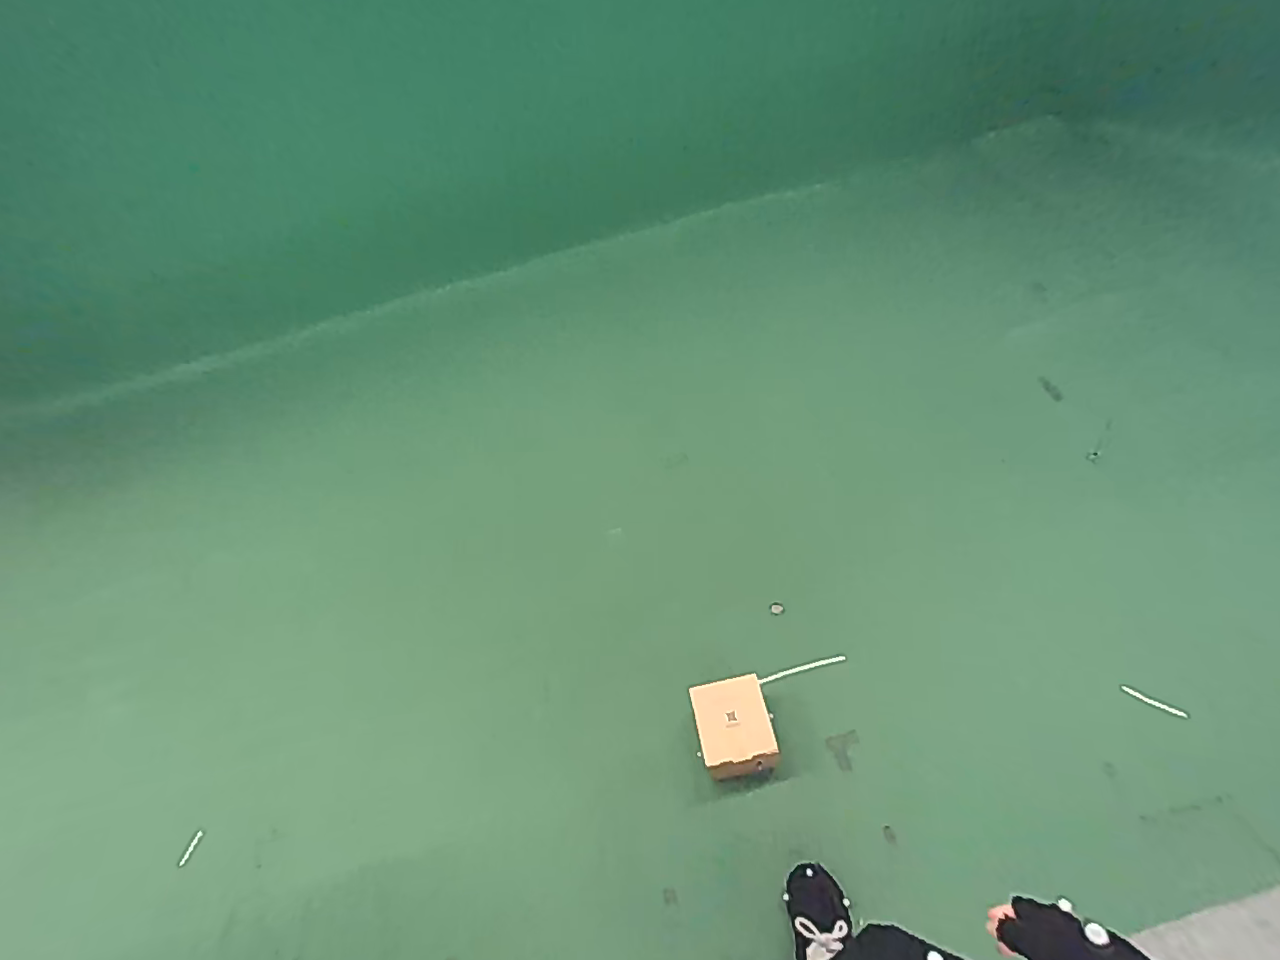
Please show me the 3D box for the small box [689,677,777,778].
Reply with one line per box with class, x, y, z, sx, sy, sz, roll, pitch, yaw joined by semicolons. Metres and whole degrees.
small box;0.223;0.599;1.295;0.168;0.176;0.179;-13;51;1
